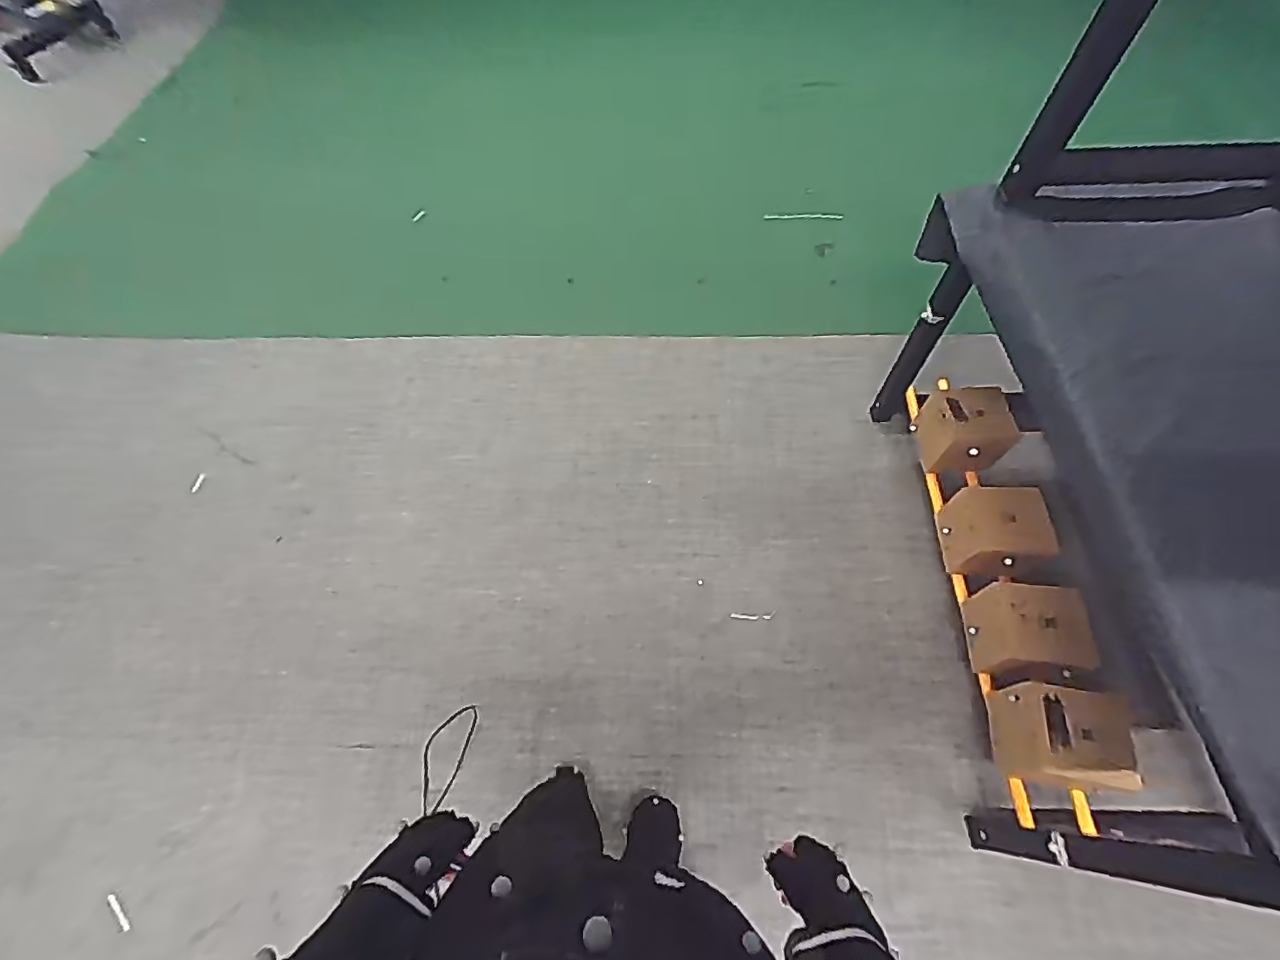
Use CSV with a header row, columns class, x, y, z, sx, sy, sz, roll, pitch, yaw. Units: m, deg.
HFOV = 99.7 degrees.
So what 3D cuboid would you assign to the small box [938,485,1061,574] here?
class,x,y,z,sx,sy,sz,roll,pitch,yaw
small box,0.860,0.124,1.312,0.179,0.176,0.168,0,62,6
